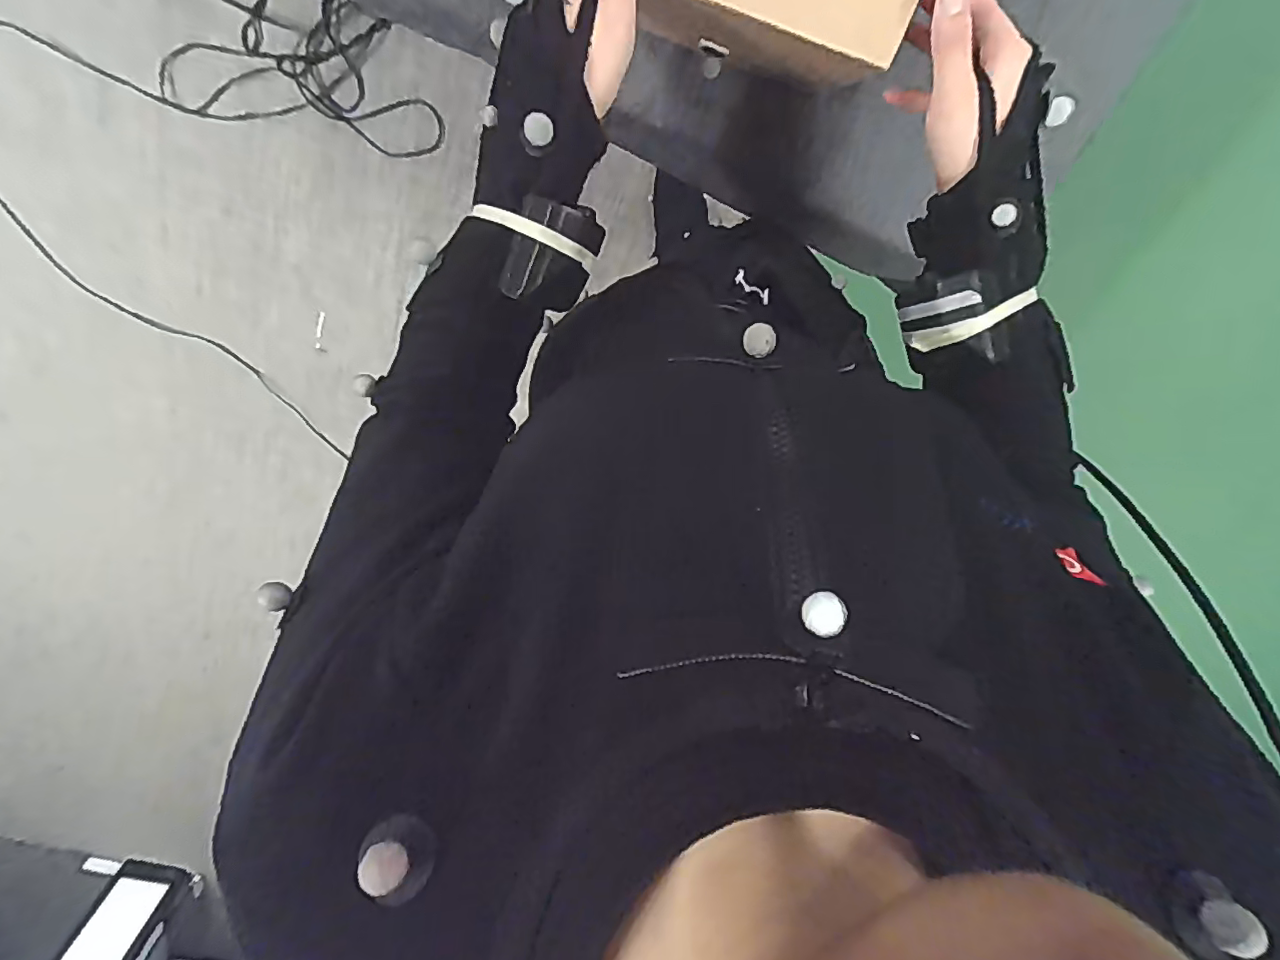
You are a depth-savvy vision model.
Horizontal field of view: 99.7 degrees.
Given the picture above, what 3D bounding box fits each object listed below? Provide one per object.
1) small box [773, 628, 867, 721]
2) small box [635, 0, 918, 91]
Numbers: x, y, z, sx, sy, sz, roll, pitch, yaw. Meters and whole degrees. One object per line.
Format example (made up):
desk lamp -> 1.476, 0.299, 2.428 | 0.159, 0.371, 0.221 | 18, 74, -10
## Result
small box -> 0.501, 0.549, 1.539 | 0.179, 0.176, 0.168 | 18, 120, -10
small box -> 0.091, -0.369, 0.328 | 0.168, 0.176, 0.179 | 14, 121, -7
